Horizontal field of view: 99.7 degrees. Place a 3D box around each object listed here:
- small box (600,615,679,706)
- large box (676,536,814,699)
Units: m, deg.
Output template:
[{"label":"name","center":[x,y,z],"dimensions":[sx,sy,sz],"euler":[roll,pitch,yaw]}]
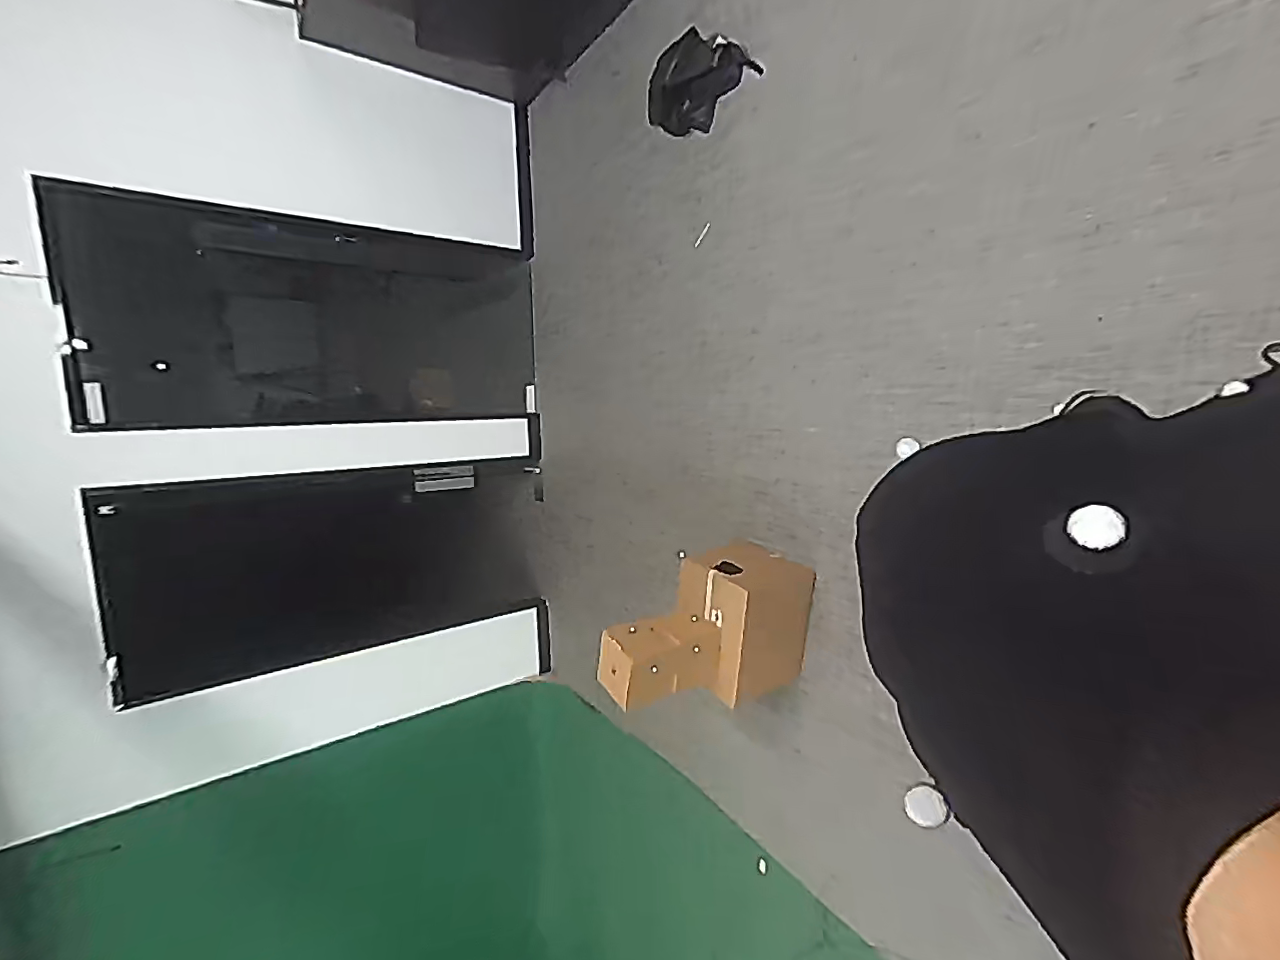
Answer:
[{"label":"small box","center":[-0.001,0.526,1.607],"dimensions":[0.168,0.176,0.179],"euler":[30,120,51]},{"label":"large box","center":[0.345,0.439,1.812],"dimensions":[0.320,0.320,0.408],"euler":[21,112,51]}]
